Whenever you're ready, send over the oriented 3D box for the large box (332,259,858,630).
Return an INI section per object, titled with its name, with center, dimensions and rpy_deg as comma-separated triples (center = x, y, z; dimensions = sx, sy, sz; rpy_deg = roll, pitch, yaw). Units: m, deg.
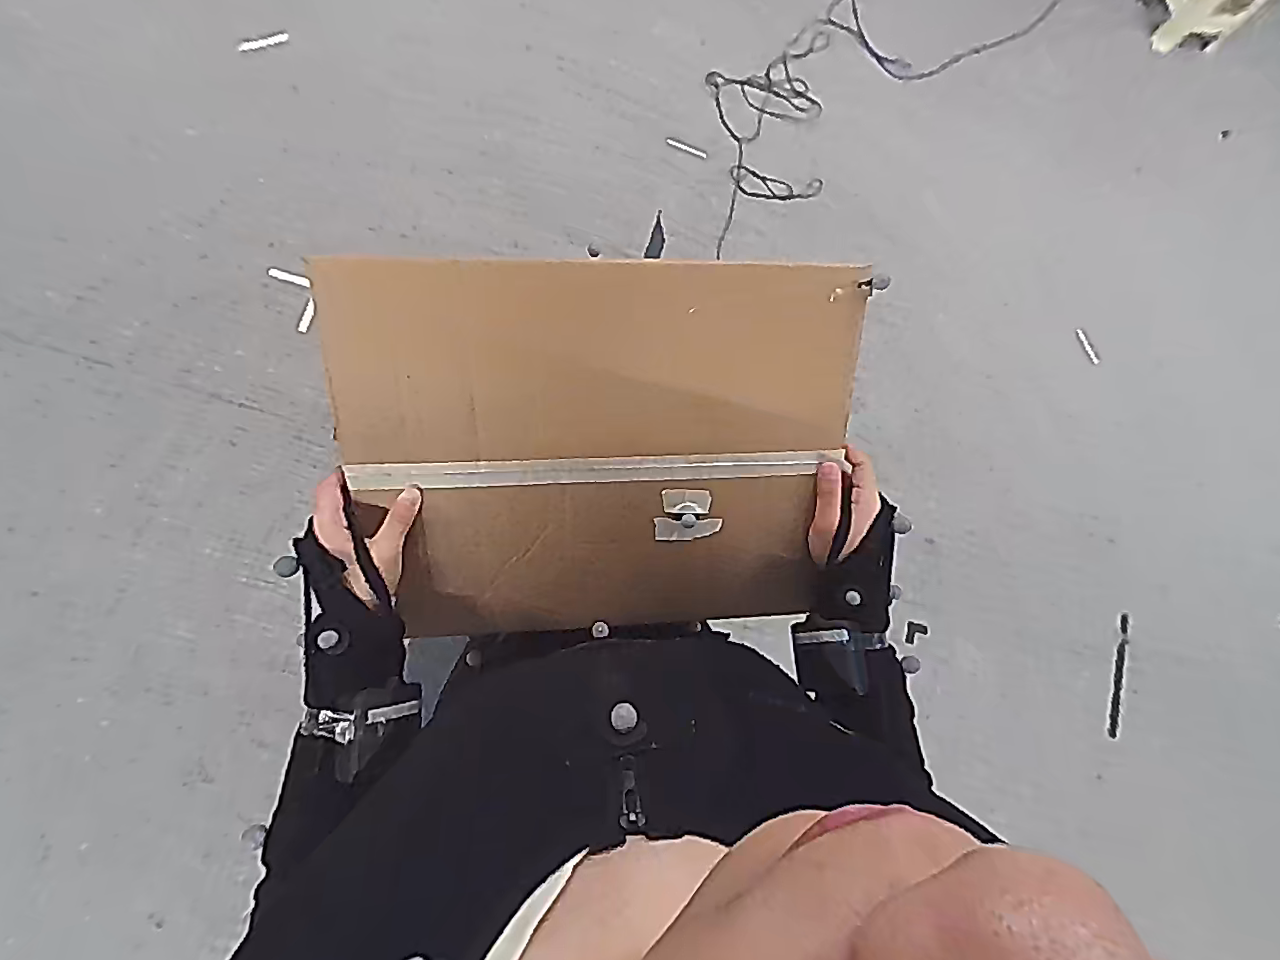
[large box]
center = -0.044, -0.069, 0.594
dimensions = 0.408, 0.320, 0.320
rpy_deg = -2, 112, -8
